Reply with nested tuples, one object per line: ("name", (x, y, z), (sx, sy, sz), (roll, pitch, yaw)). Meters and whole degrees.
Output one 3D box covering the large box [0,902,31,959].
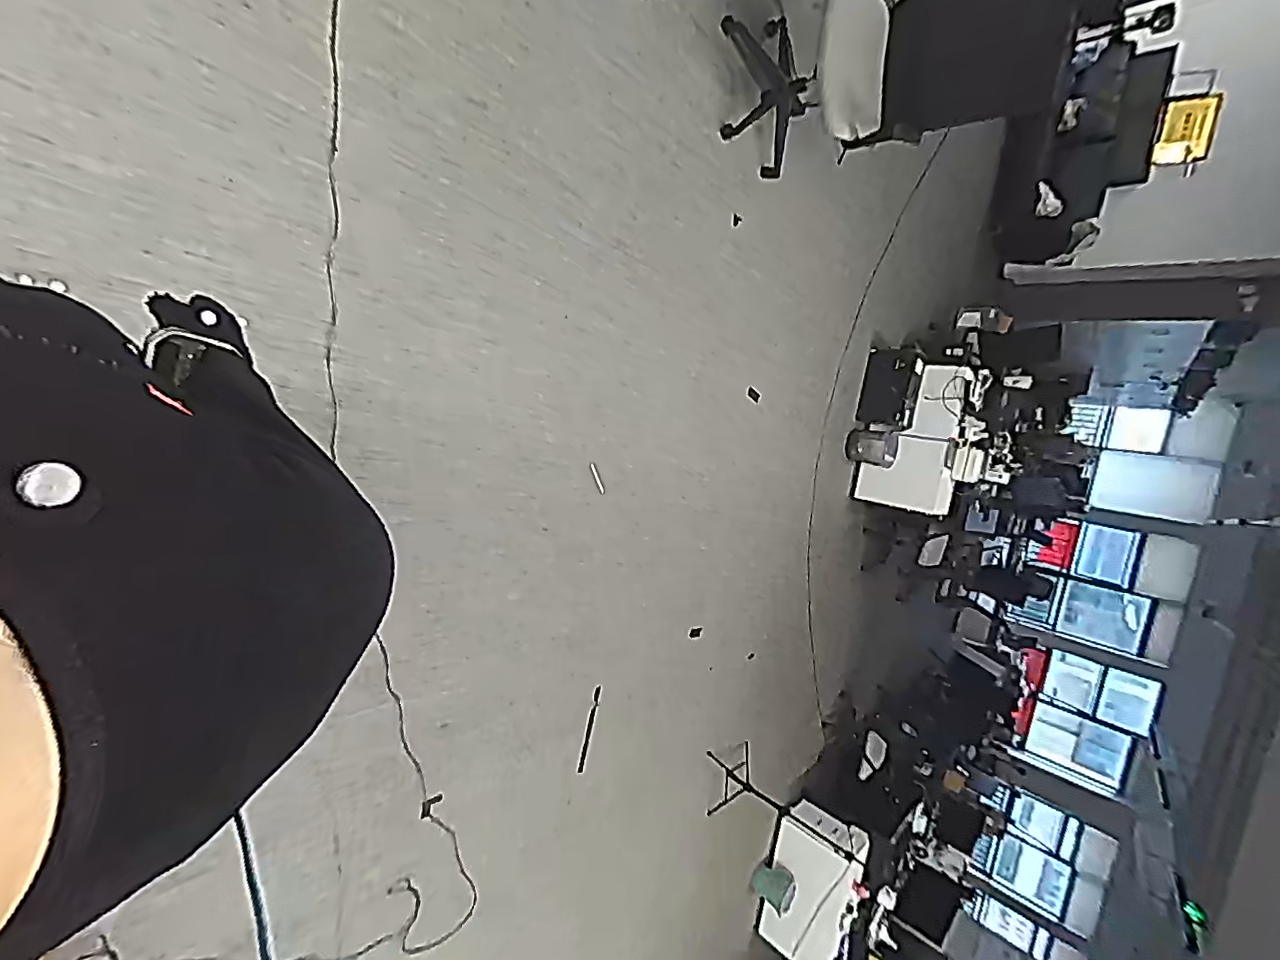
("large box", (-1.333, 1.069, 0.918), (0.408, 0.320, 0.320), (-8, 106, -48))
